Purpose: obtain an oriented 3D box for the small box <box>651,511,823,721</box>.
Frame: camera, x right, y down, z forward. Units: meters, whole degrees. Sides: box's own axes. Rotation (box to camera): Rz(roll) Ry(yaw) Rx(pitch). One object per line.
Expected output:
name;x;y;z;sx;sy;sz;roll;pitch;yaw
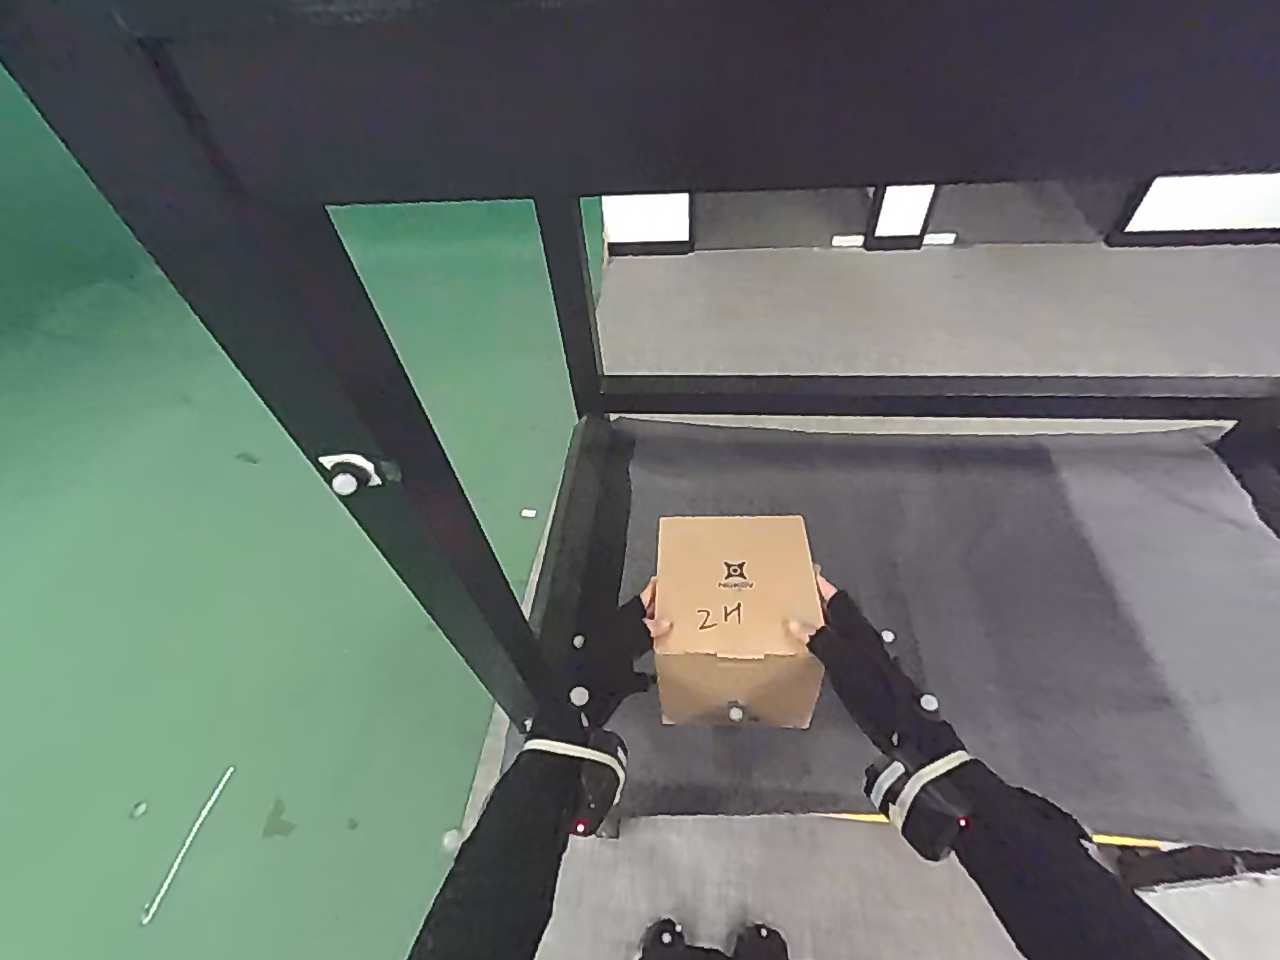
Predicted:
small box;0.104;0.155;0.627;0.168;0.176;0.179;-1;45;7
